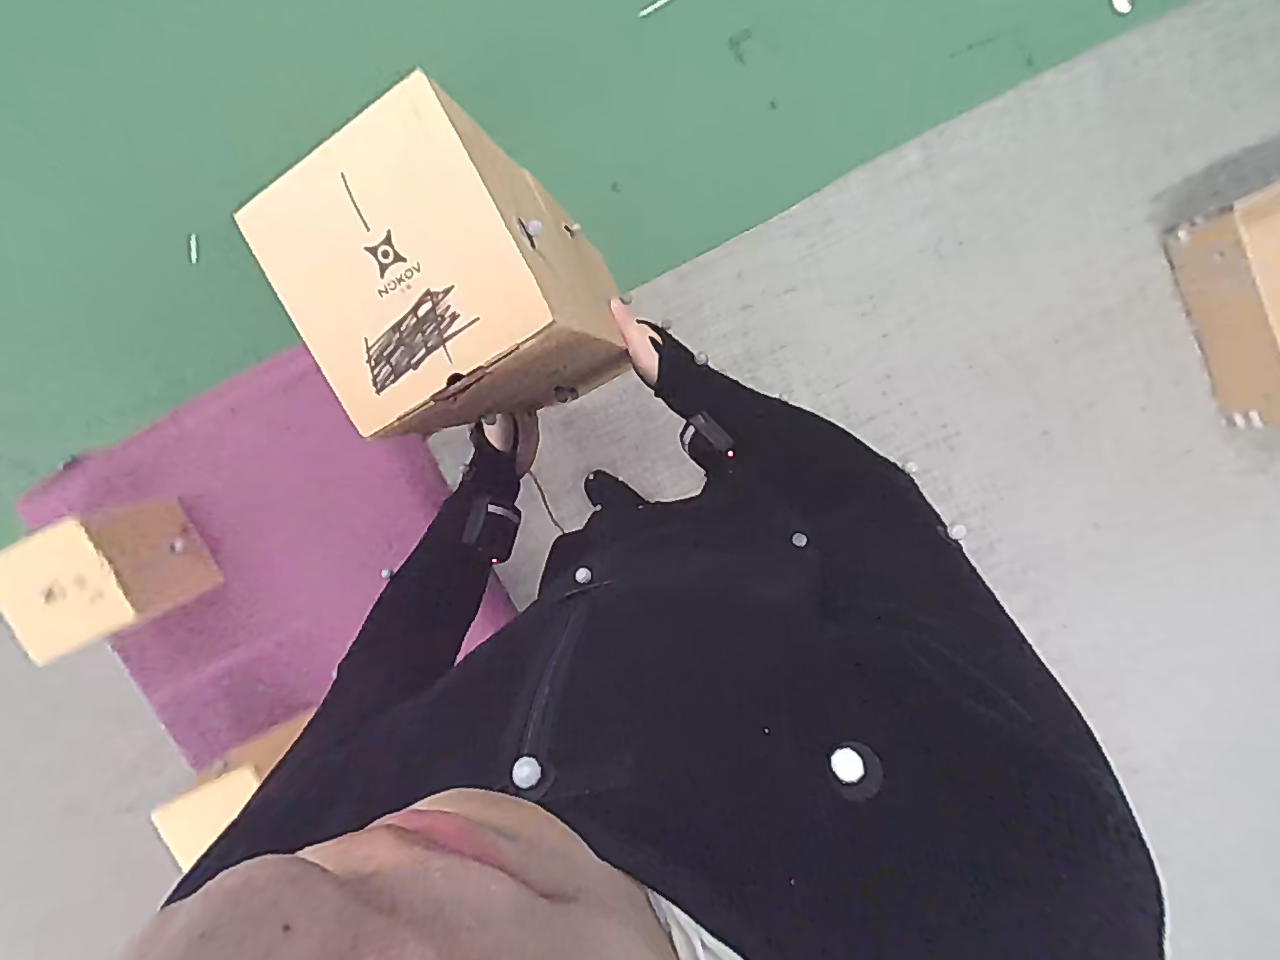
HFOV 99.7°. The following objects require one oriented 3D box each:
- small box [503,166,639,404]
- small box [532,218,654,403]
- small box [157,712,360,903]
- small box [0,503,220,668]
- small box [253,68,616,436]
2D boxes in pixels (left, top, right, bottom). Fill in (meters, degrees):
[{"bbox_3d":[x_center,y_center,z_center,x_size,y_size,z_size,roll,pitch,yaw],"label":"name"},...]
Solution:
[{"bbox_3d":[-0.114,-0.189,0.586,0.168,0.176,0.179,-24,97,11],"label":"small box"},{"bbox_3d":[-0.093,-0.219,0.746,0.168,0.176,0.179,-24,97,11],"label":"small box"},{"bbox_3d":[-0.605,0.520,0.882,0.179,0.176,0.168,-27,95,2],"label":"small box"},{"bbox_3d":[-0.823,0.153,0.840,0.179,0.176,0.168,-26,98,3],"label":"small box"},{"bbox_3d":[-0.136,-0.155,0.427,0.168,0.176,0.179,-26,95,12],"label":"small box"}]
